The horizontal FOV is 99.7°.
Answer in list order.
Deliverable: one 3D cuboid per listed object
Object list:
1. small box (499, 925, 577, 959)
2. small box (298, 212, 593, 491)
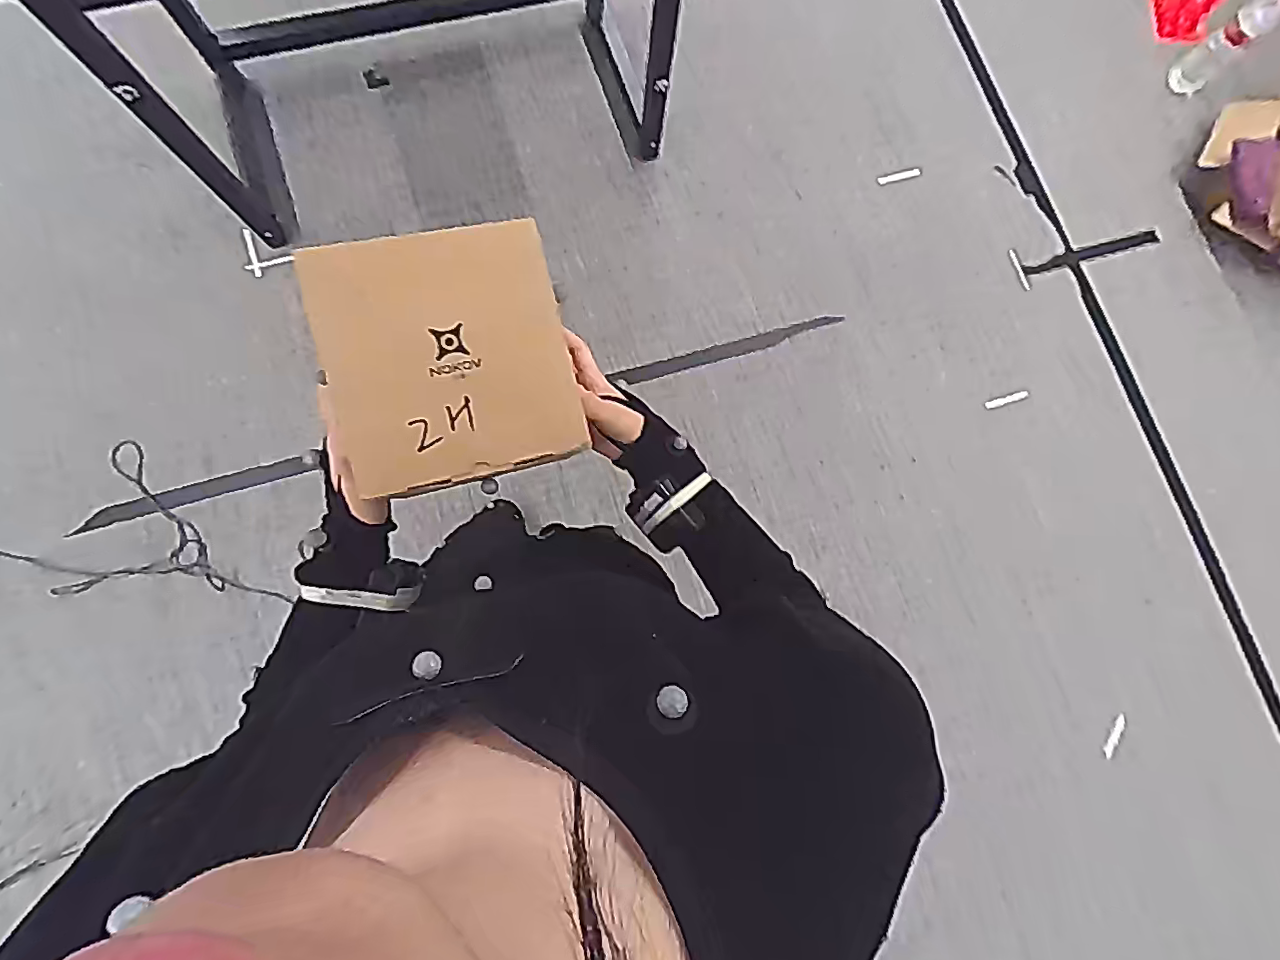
[{"bbox_3d":[-0.231,1.181,1.242,0.168,0.176,0.179,-22,84,-8],"label":"small box"},{"bbox_3d":[-0.149,-0.091,0.452,0.168,0.176,0.179,-14,93,-13],"label":"small box"}]
